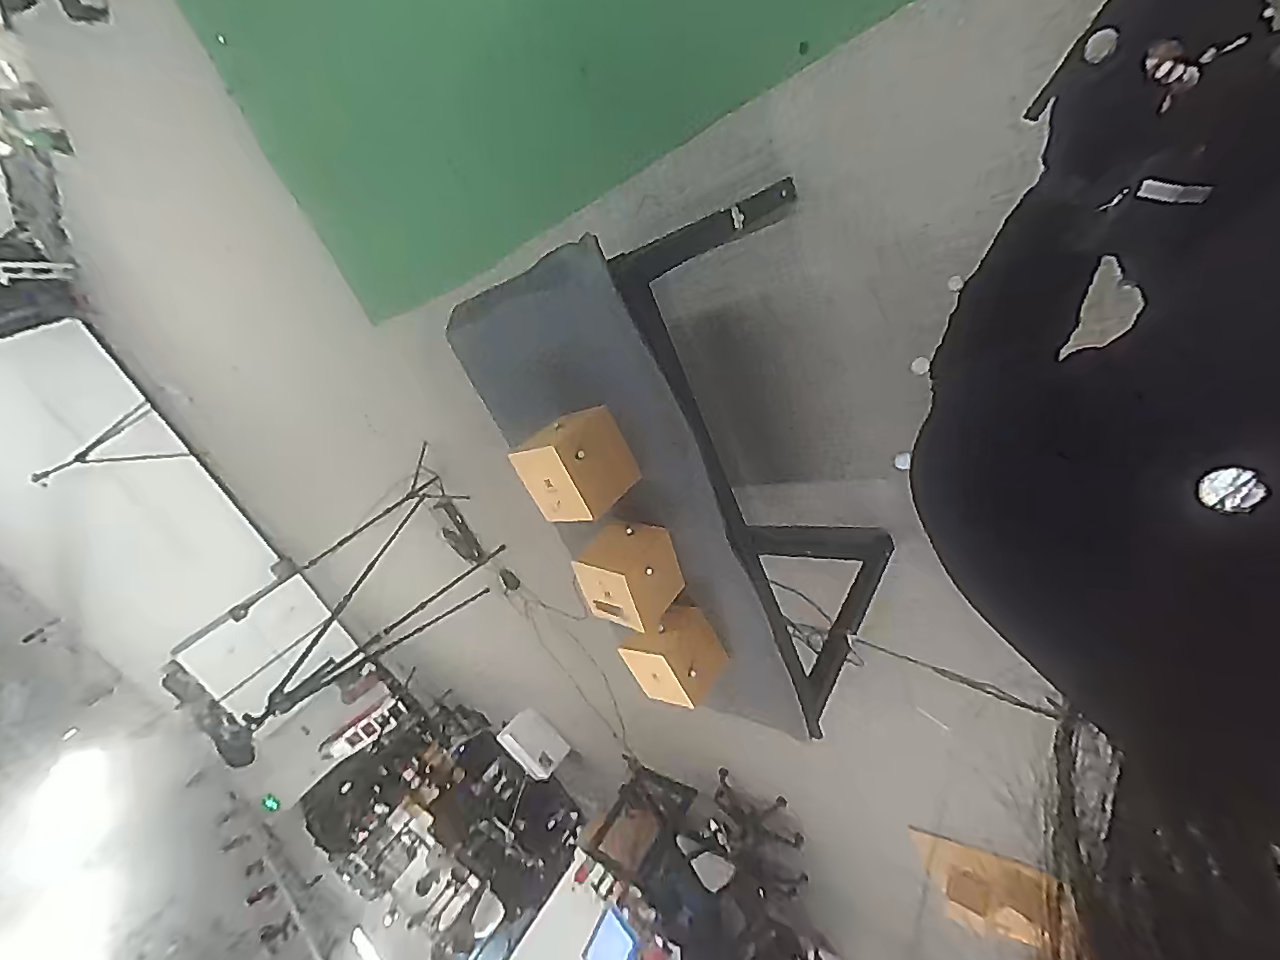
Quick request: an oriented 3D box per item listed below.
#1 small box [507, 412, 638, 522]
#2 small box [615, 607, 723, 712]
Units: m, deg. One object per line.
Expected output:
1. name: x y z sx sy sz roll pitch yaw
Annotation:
1. small box: -0.137 -0.030 1.130 0.168 0.176 0.179 -5 119 45
2. small box: 0.076 0.435 1.341 0.168 0.176 0.179 -10 115 46
